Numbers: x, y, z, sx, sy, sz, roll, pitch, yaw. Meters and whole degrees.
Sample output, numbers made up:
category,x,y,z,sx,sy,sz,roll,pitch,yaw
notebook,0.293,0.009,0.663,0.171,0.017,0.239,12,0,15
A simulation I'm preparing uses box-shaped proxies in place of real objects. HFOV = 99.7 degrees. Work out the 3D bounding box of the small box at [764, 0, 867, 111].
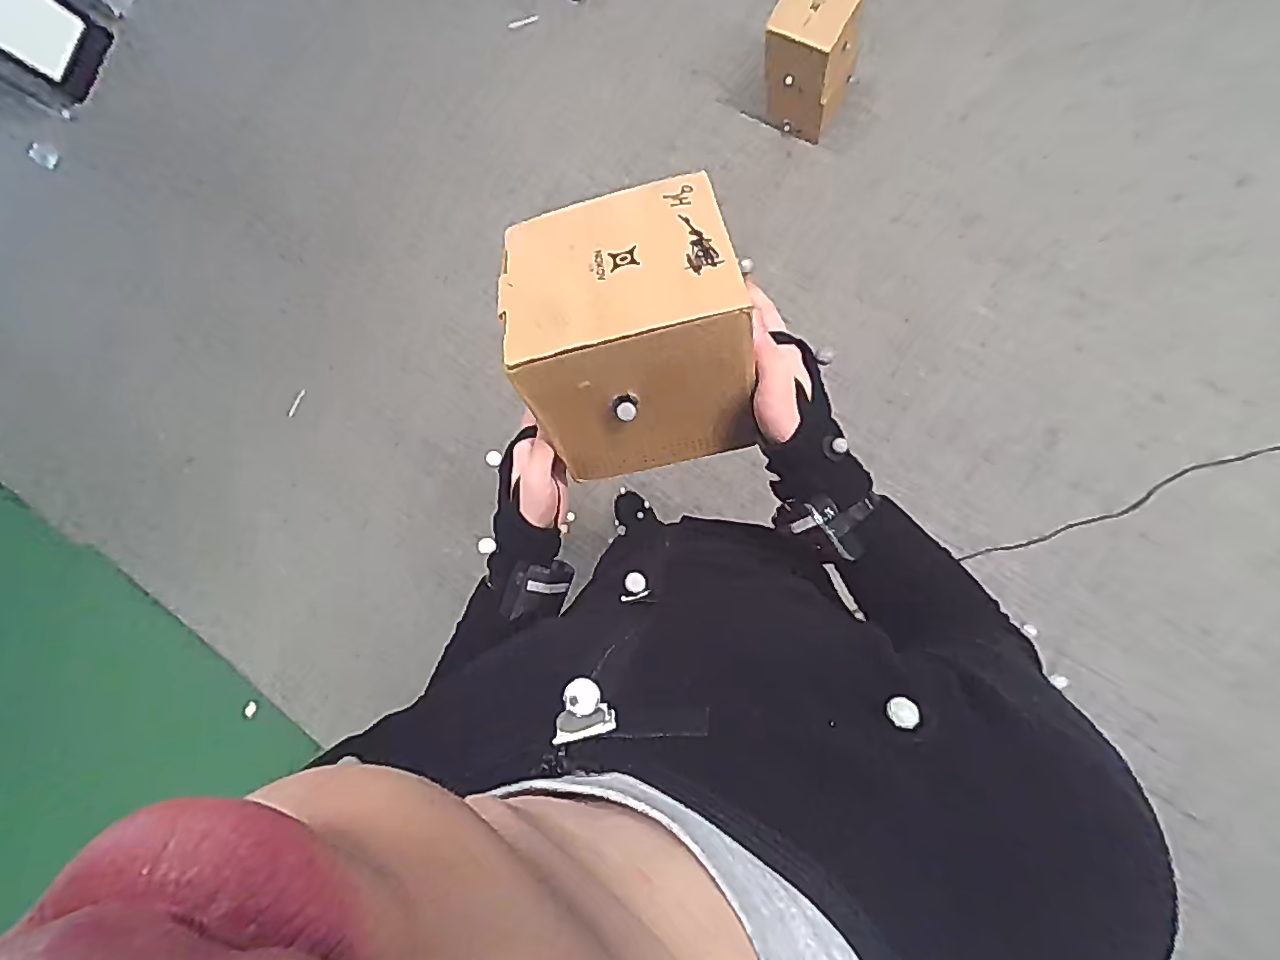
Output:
category,x,y,z,sx,sy,sz,roll,pitch,yaw
small box,0.407,-1.040,1.287,0.168,0.176,0.179,32,95,12

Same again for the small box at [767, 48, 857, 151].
category,x,y,z,sx,sy,sz,roll,pitch,yaw
small box,0.450,-1.034,1.446,0.168,0.176,0.179,30,95,12

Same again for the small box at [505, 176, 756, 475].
category,x,y,z,sx,sy,sz,roll,pitch,yaw
small box,-0.002,-0.122,0.474,0.179,0.176,0.168,-12,58,6
